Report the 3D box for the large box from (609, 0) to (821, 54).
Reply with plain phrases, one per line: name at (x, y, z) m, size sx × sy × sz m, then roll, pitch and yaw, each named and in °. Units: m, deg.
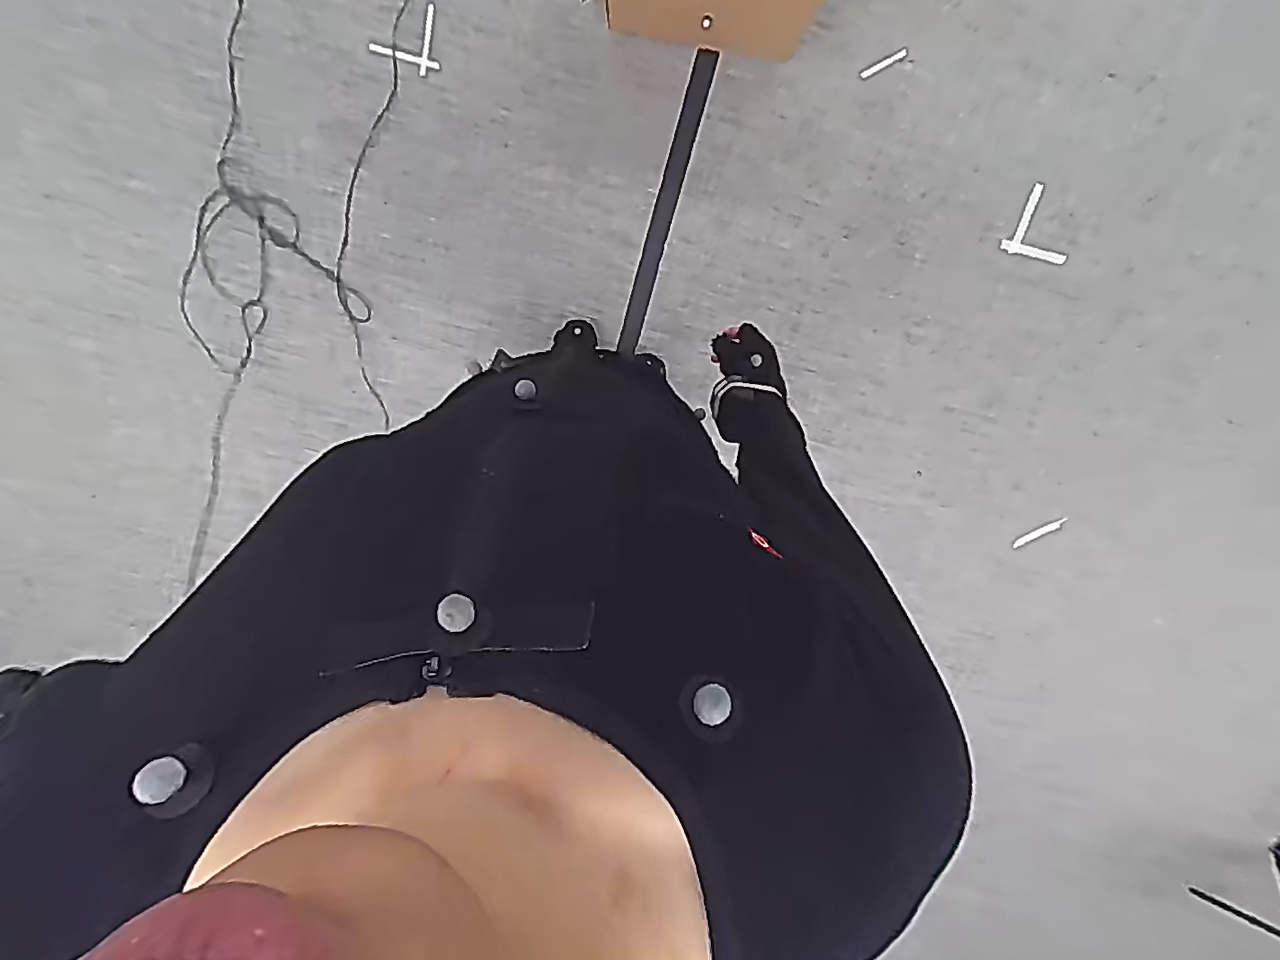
large box at (0.154, -1.073, 1.024) m, size 0.408 × 0.320 × 0.320 m, roll 7°, pitch 108°, yaw -3°
